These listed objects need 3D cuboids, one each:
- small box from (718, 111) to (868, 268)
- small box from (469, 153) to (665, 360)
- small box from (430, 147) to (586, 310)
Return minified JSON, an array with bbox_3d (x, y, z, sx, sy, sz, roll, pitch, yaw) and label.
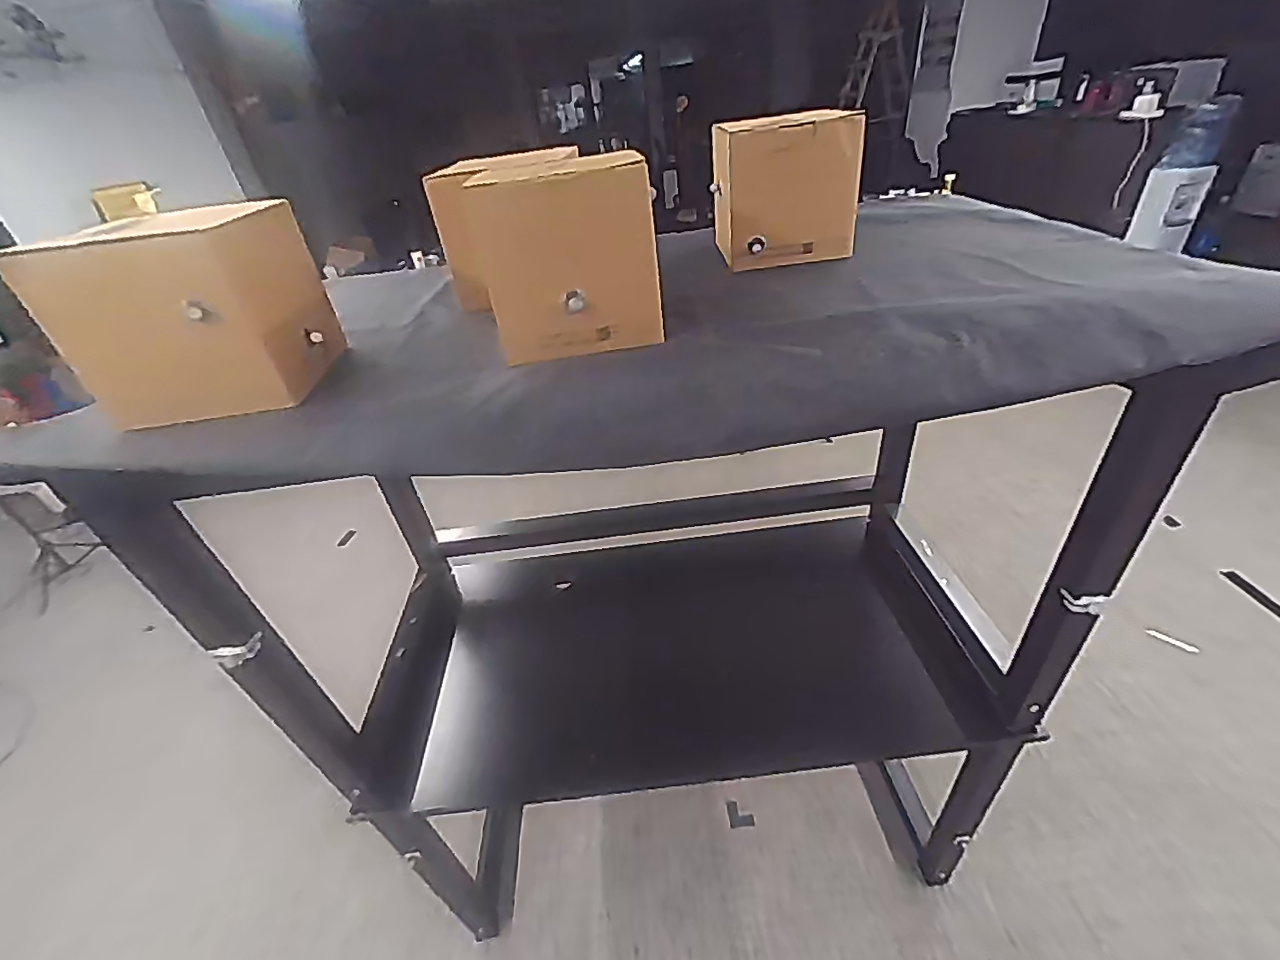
[{"bbox_3d":[0.204,-0.407,0.764,0.168,0.176,0.179,-5,35,3],"label":"small box"},{"bbox_3d":[-0.067,-0.244,0.585,0.168,0.176,0.179,-8,35,0],"label":"small box"},{"bbox_3d":[-0.159,-0.352,0.757,0.179,0.176,0.168,-4,36,5],"label":"small box"}]
